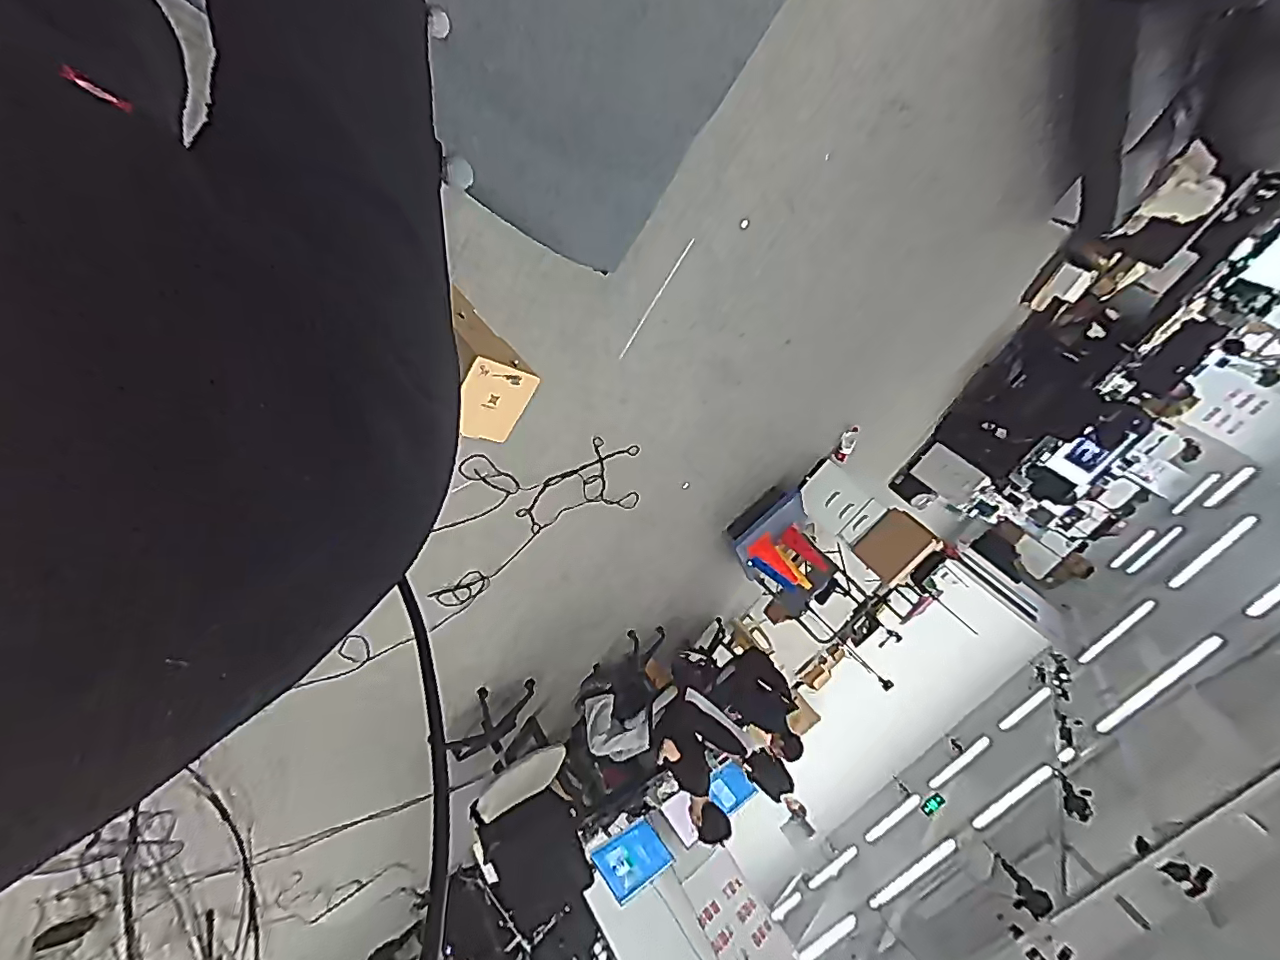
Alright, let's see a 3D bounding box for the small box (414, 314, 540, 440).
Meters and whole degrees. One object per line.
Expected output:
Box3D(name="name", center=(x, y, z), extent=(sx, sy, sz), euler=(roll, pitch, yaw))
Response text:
Box3D(name="small box", center=(-0.350, -0.214, 1.141), extent=(0.168, 0.176, 0.179), euler=(11, 120, -54))
